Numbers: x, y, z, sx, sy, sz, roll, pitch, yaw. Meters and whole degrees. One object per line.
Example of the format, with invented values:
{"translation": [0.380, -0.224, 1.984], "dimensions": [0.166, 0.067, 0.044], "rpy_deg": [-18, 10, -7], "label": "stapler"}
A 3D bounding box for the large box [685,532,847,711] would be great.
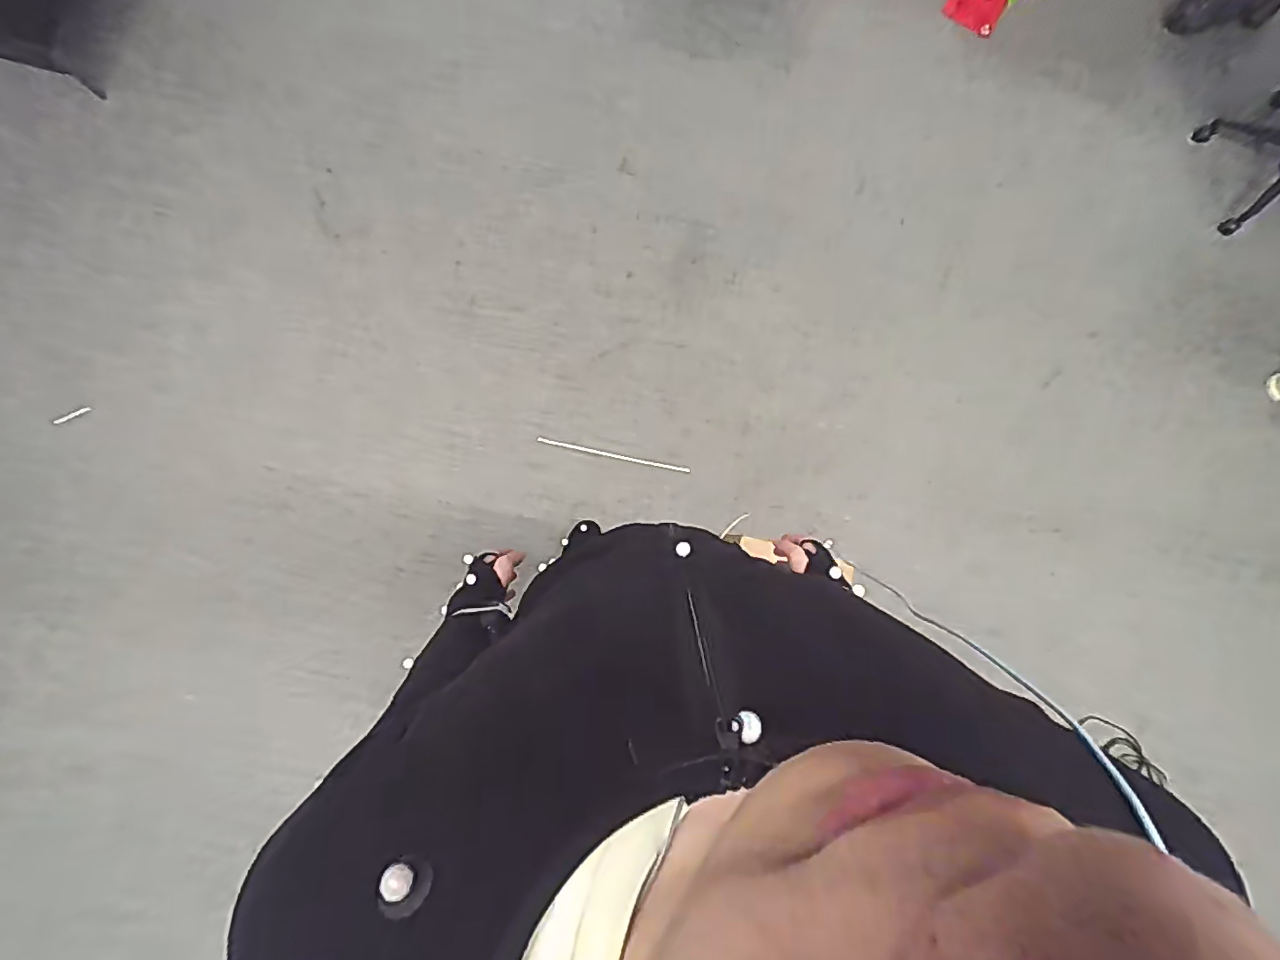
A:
{"translation": [0.338, 0.372, 1.524], "dimensions": [0.320, 0.320, 0.408], "rpy_deg": [14, 84, -5], "label": "large box"}
